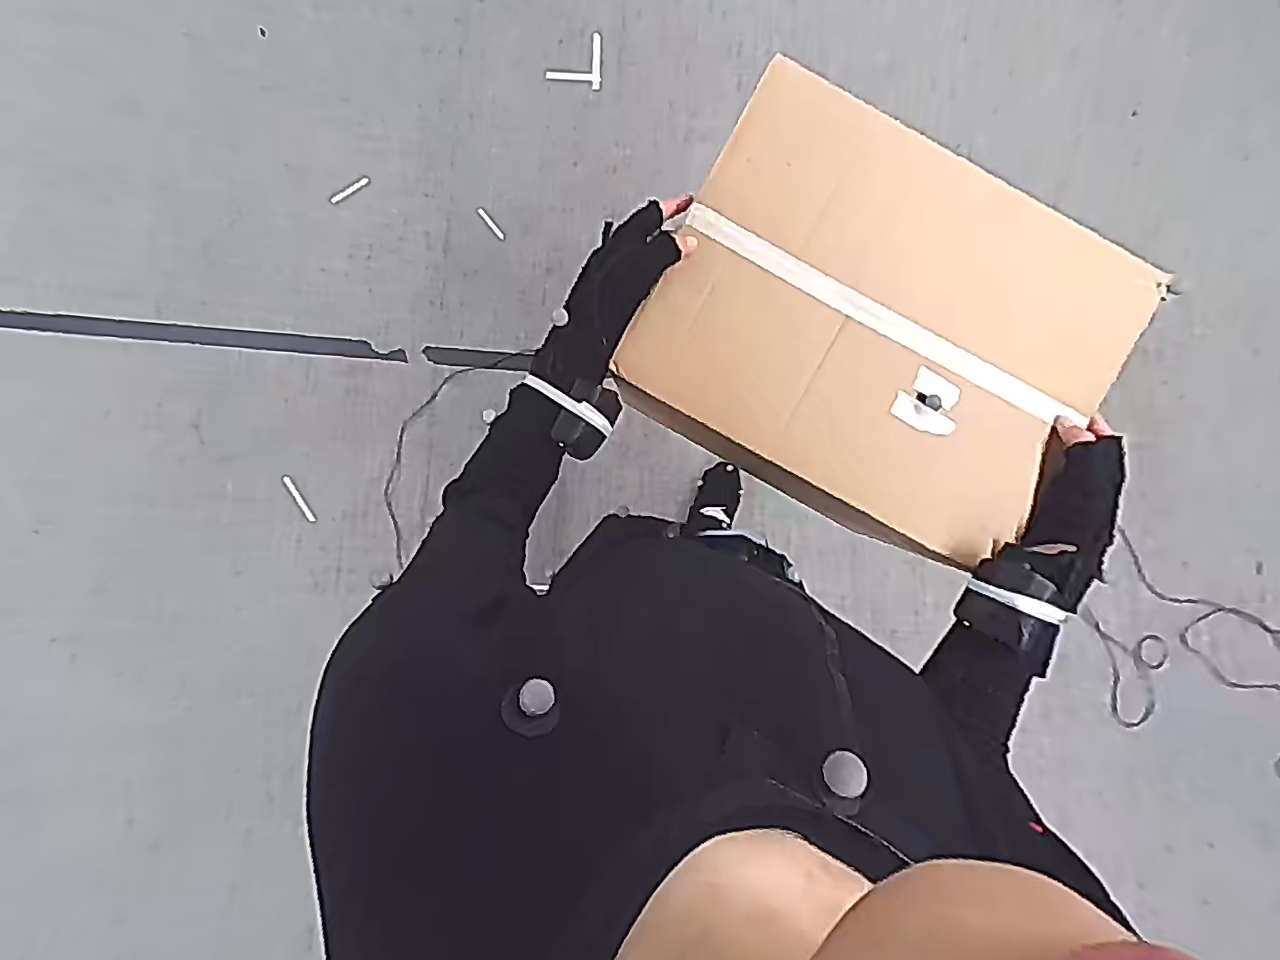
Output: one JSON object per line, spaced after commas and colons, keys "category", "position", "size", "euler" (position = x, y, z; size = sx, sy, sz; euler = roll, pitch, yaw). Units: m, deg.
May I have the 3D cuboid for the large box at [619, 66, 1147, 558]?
{"category": "large box", "position": [0.220, -0.158, 0.645], "size": [0.408, 0.320, 0.320], "euler": [29, 94, -2]}
